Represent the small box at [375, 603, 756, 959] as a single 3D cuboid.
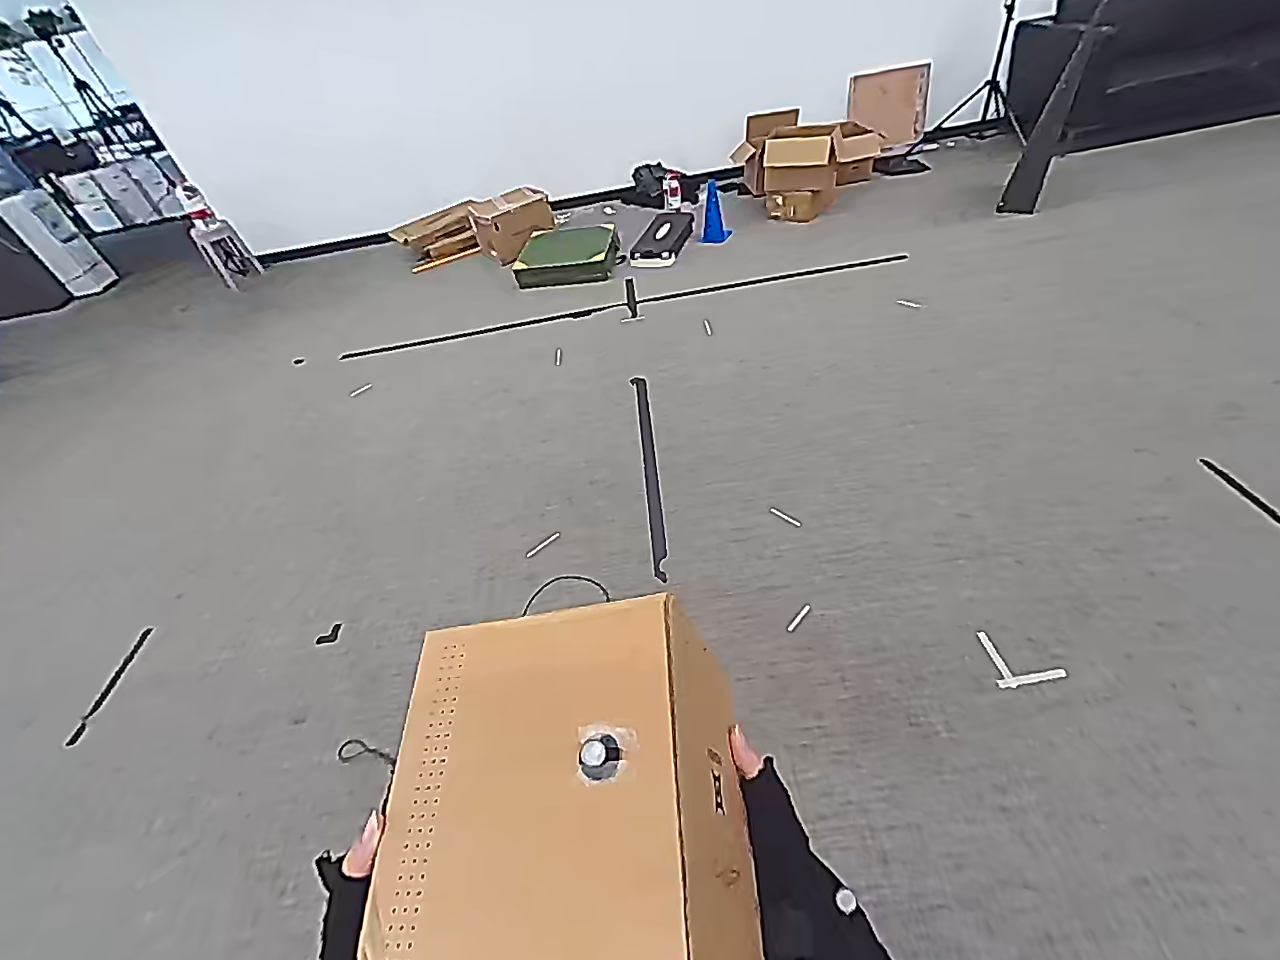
[{"bbox_3d":[-0.034,0.203,0.347,0.176,0.168,0.179,-13,51,15],"label":"small box"}]
